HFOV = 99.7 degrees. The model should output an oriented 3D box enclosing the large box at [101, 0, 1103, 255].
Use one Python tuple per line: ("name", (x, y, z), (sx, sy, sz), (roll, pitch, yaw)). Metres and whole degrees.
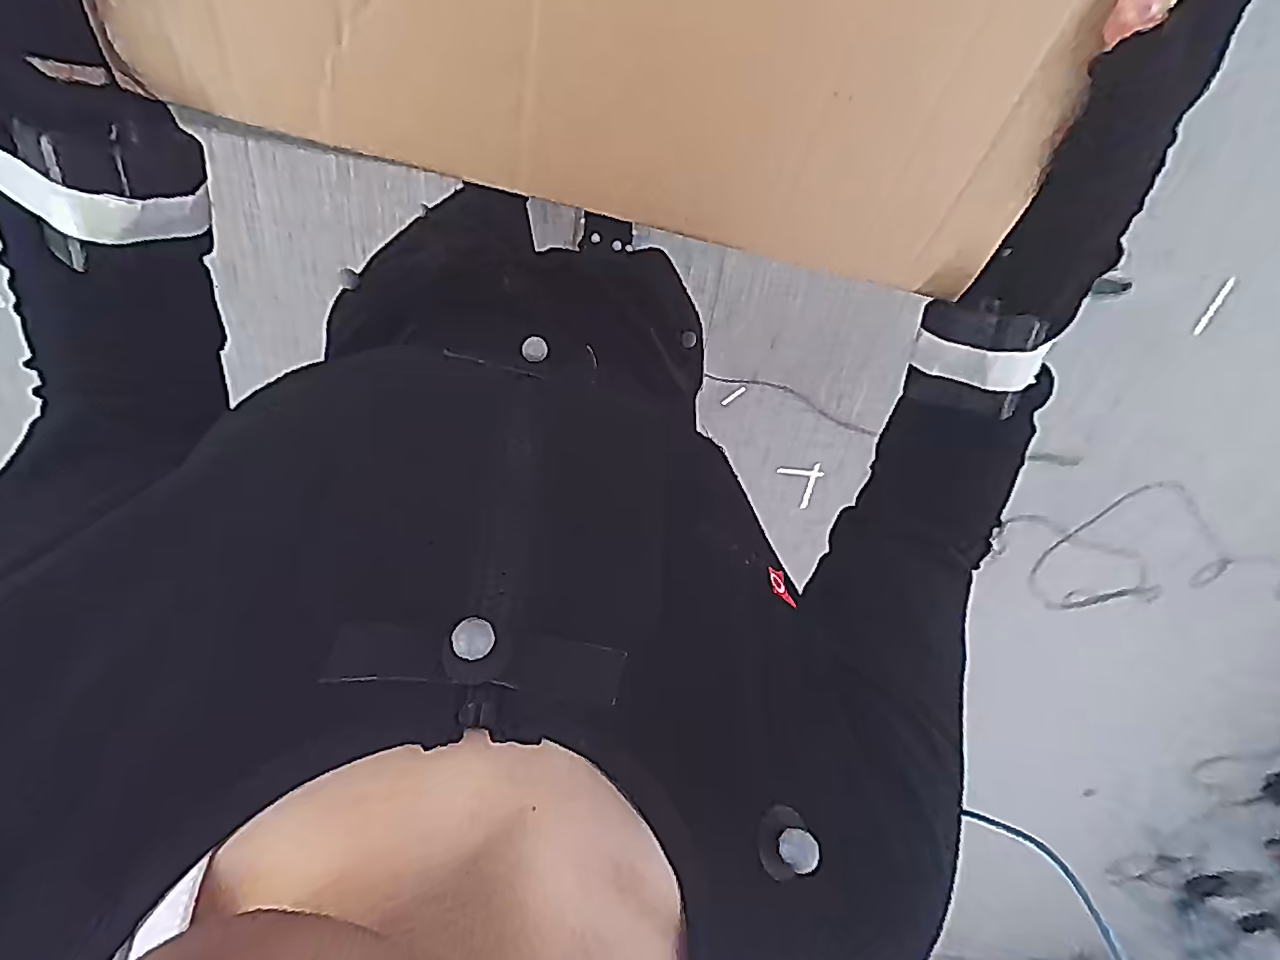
("large box", (0.004, -0.358, 0.258), (0.408, 0.320, 0.320), (8, 136, -10))
